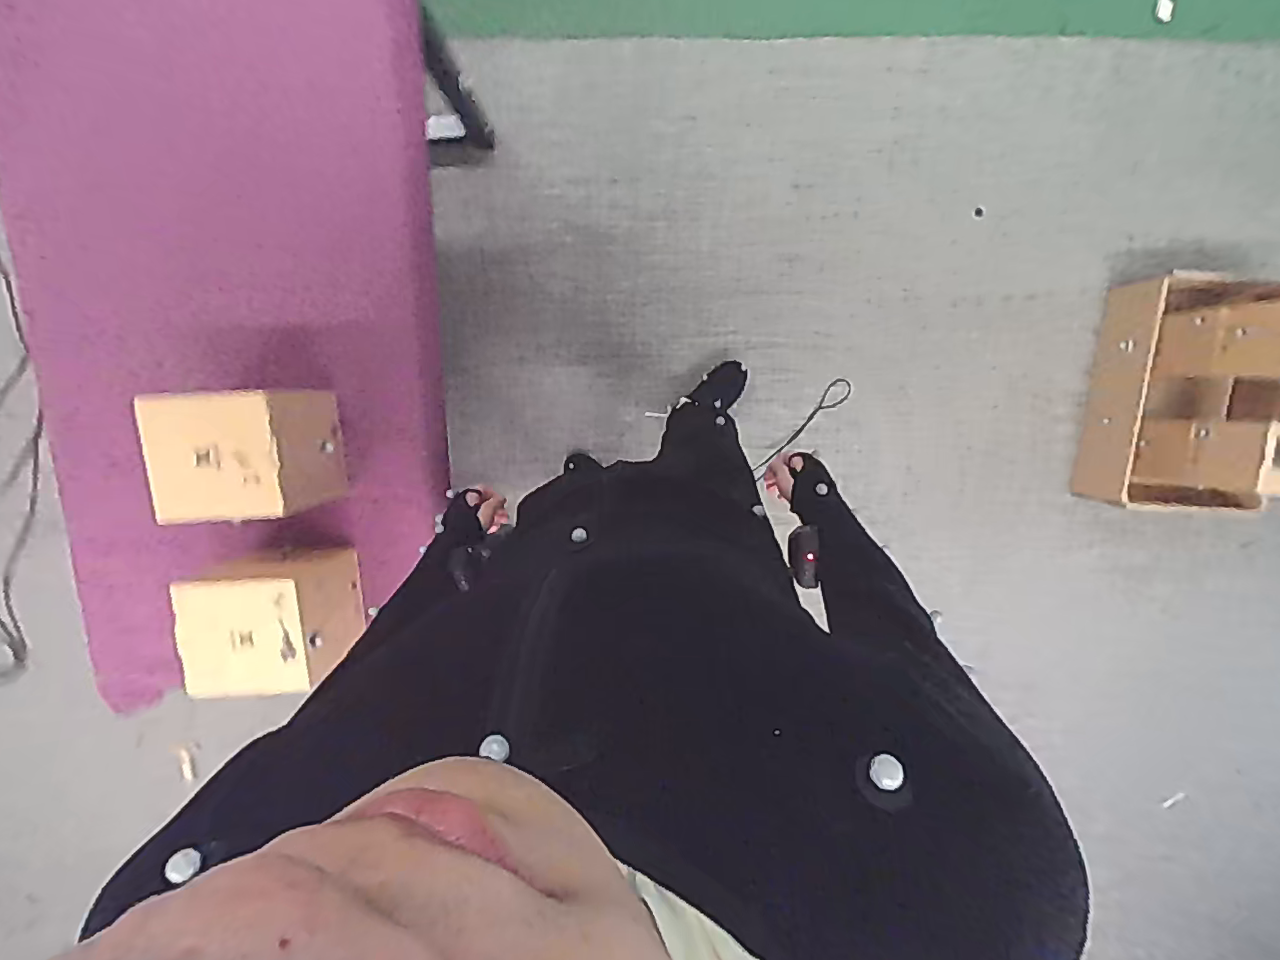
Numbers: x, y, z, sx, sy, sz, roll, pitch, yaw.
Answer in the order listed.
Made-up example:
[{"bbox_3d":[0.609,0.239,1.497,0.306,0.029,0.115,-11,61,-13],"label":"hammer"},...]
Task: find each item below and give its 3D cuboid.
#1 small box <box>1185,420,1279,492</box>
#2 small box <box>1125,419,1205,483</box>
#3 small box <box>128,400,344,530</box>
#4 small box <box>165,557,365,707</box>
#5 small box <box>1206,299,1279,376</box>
[{"bbox_3d":[1.512,-0.058,1.328,0.179,0.176,0.168,5,97,-3],"label":"small box"},{"bbox_3d":[1.508,-0.080,1.490,0.179,0.176,0.168,3,97,-2],"label":"small box"},{"bbox_3d":[-0.566,-0.029,0.782,0.179,0.176,0.168,-4,99,-1],"label":"small box"},{"bbox_3d":[-0.551,0.220,0.818,0.179,0.176,0.168,-3,100,0],"label":"small box"},{"bbox_3d":[1.534,-0.338,1.289,0.179,0.176,0.168,3,99,-2],"label":"small box"}]
